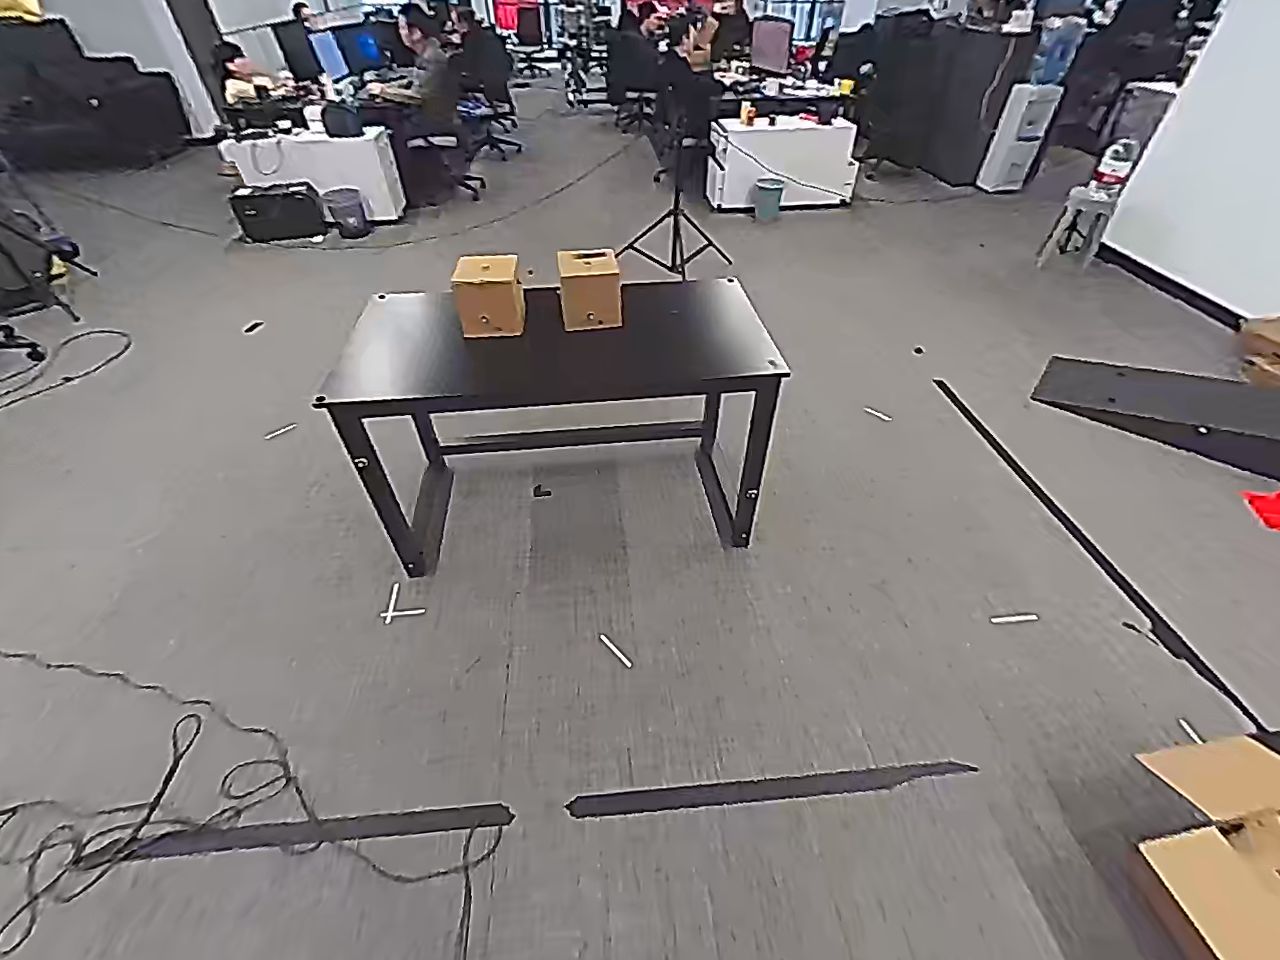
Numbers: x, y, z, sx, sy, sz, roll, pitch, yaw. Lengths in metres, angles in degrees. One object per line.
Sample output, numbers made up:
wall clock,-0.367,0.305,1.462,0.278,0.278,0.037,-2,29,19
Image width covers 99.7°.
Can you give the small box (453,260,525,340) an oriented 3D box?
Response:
small box,-0.434,-0.525,1.579,0.168,0.176,0.179,-4,44,-4
